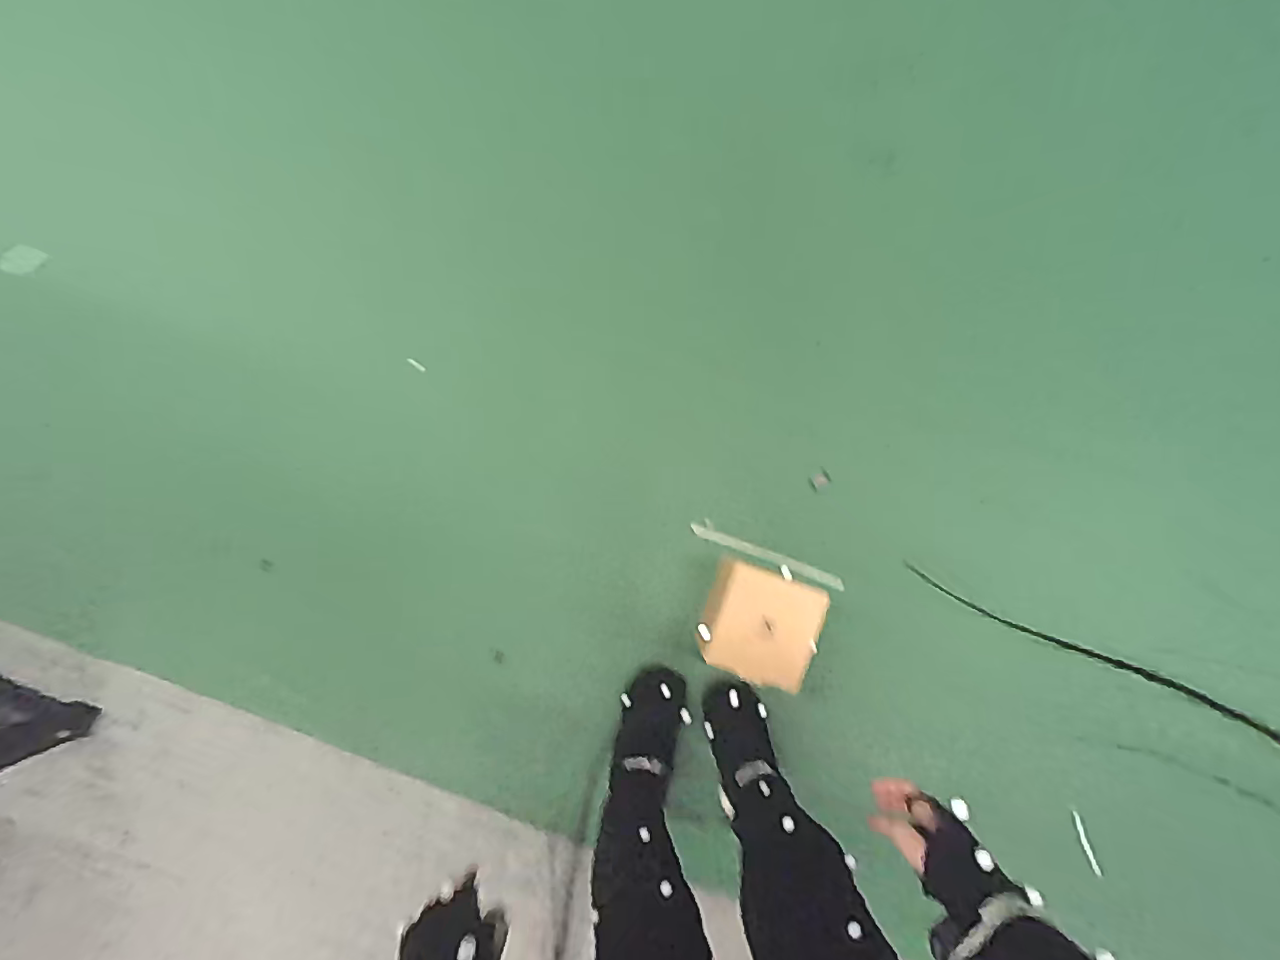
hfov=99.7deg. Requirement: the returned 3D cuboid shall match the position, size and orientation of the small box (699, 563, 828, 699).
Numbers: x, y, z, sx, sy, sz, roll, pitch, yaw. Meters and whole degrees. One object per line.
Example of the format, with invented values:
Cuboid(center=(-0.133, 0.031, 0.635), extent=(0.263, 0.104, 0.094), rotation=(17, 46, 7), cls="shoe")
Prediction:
Cuboid(center=(0.213, 0.262, 0.988), extent=(0.168, 0.176, 0.179), rotation=(20, 89, 1), cls="small box")
